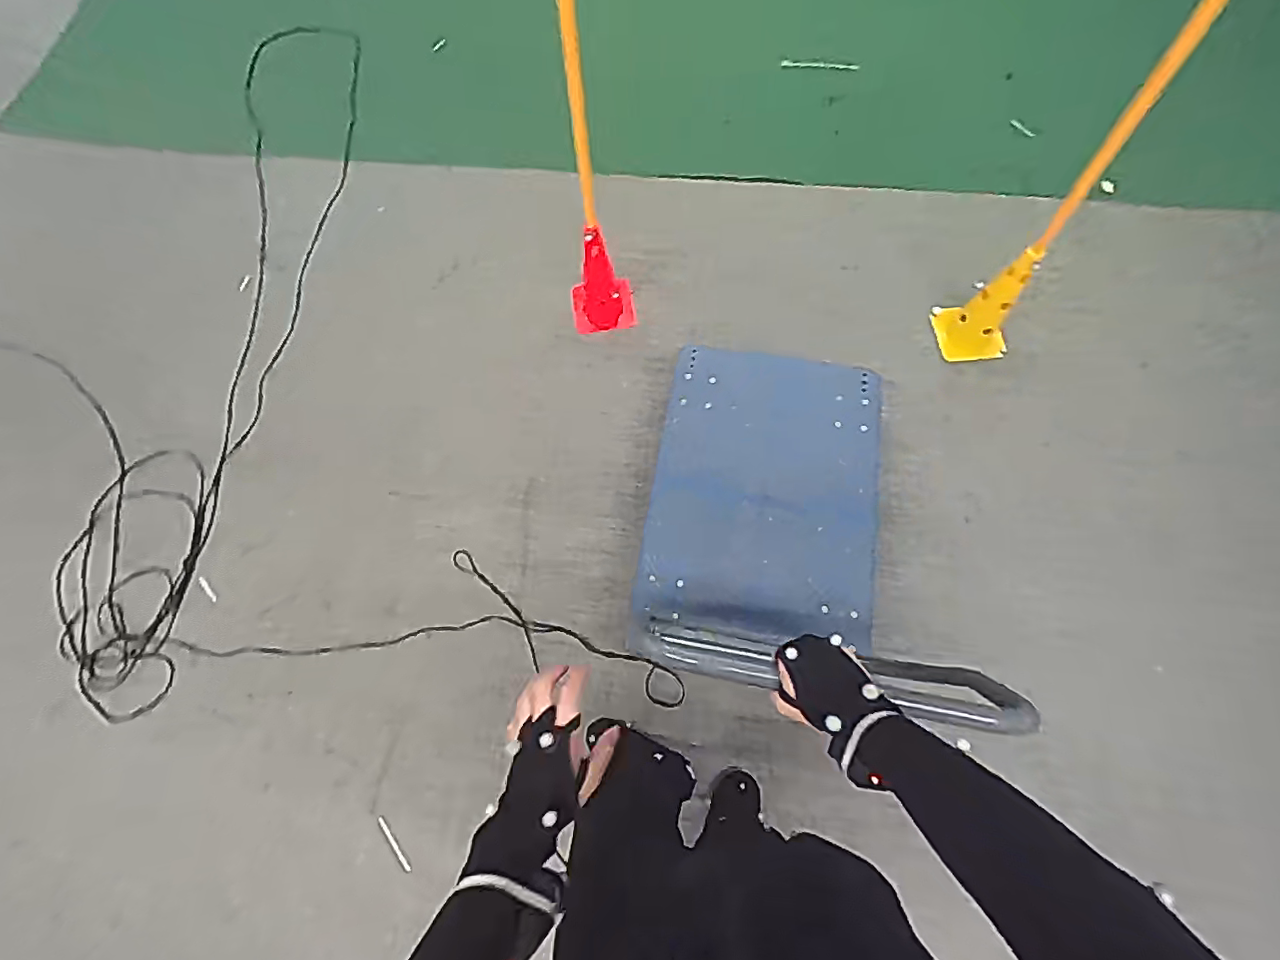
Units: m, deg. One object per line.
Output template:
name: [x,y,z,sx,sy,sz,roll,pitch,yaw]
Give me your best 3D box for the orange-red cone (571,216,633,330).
orange-red cone: [-0.138,-0.653,1.655,0.199,0.360,0.198,-9,69,0]
